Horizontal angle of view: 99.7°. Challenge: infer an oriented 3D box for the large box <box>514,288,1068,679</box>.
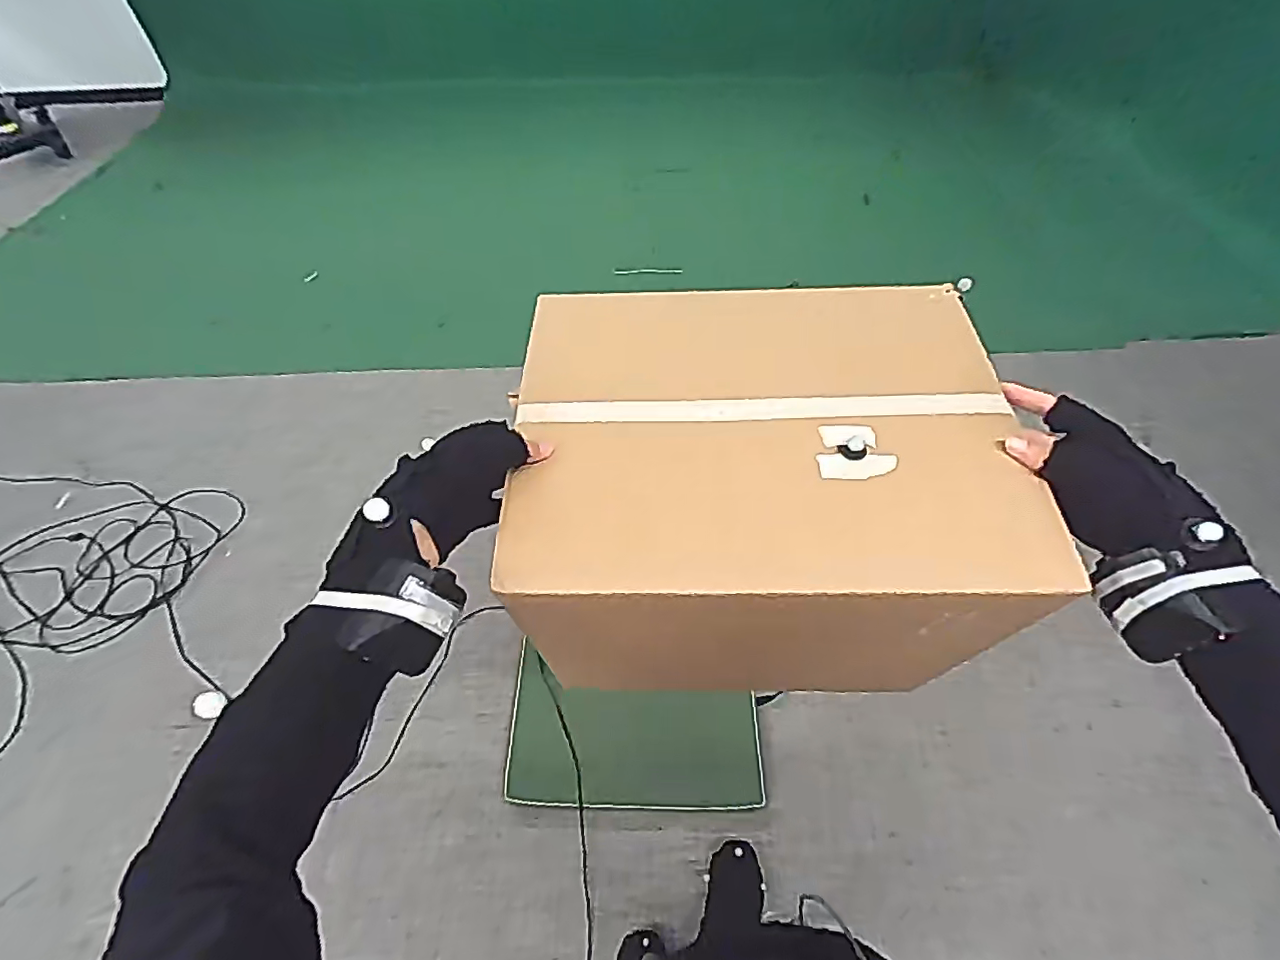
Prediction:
[{"bbox_3d":[0.107,0.020,0.587,0.408,0.320,0.320,-1,58,1],"label":"large box"}]
